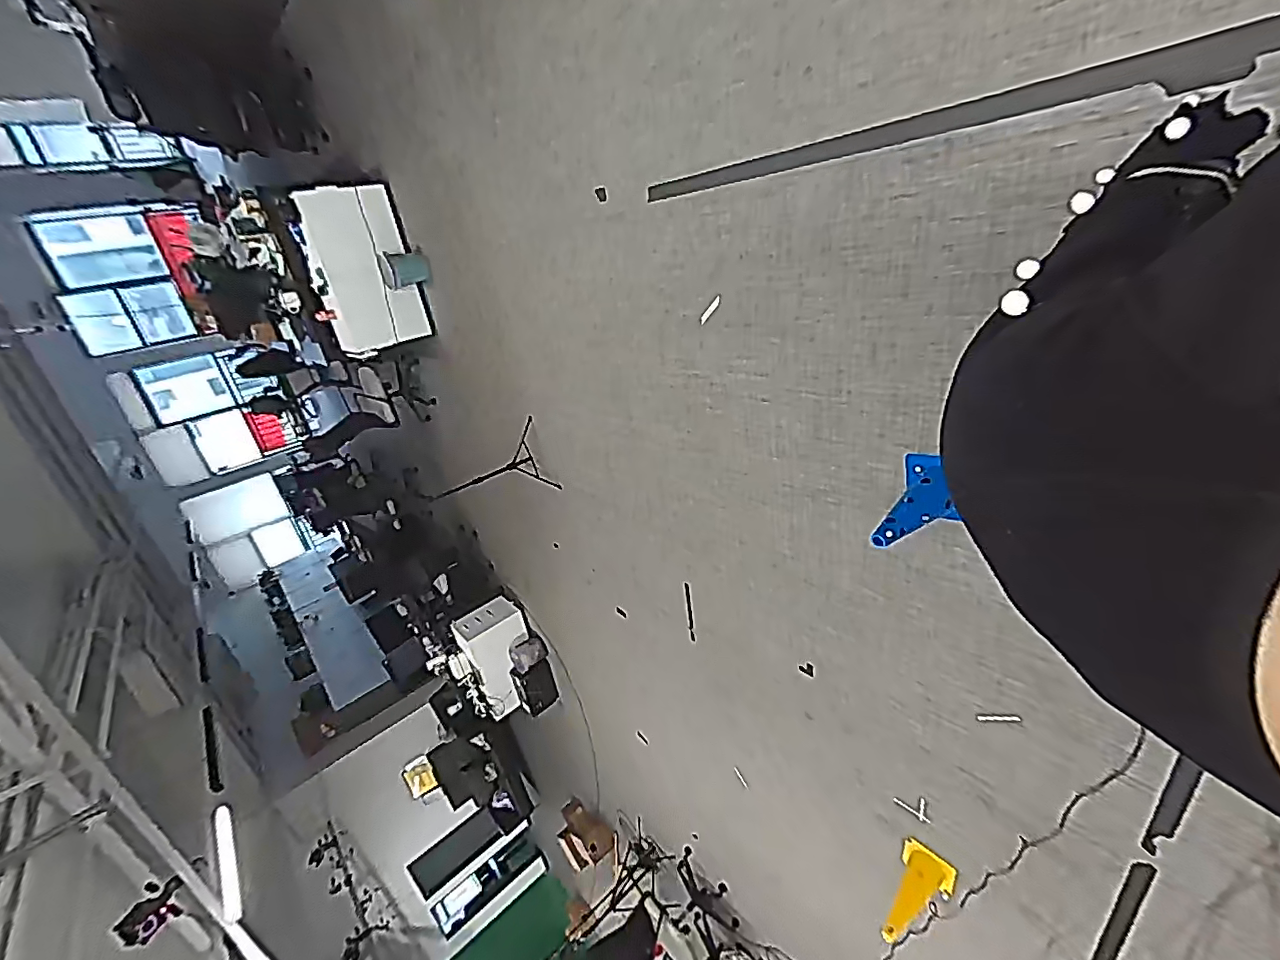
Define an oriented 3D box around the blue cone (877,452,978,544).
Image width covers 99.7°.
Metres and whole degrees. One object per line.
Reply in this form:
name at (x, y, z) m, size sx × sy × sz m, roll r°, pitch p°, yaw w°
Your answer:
blue cone at (0.745, 0.074, 1.467) m, size 0.192 × 0.380 × 0.193 m, roll 14°, pitch 123°, yaw 49°
